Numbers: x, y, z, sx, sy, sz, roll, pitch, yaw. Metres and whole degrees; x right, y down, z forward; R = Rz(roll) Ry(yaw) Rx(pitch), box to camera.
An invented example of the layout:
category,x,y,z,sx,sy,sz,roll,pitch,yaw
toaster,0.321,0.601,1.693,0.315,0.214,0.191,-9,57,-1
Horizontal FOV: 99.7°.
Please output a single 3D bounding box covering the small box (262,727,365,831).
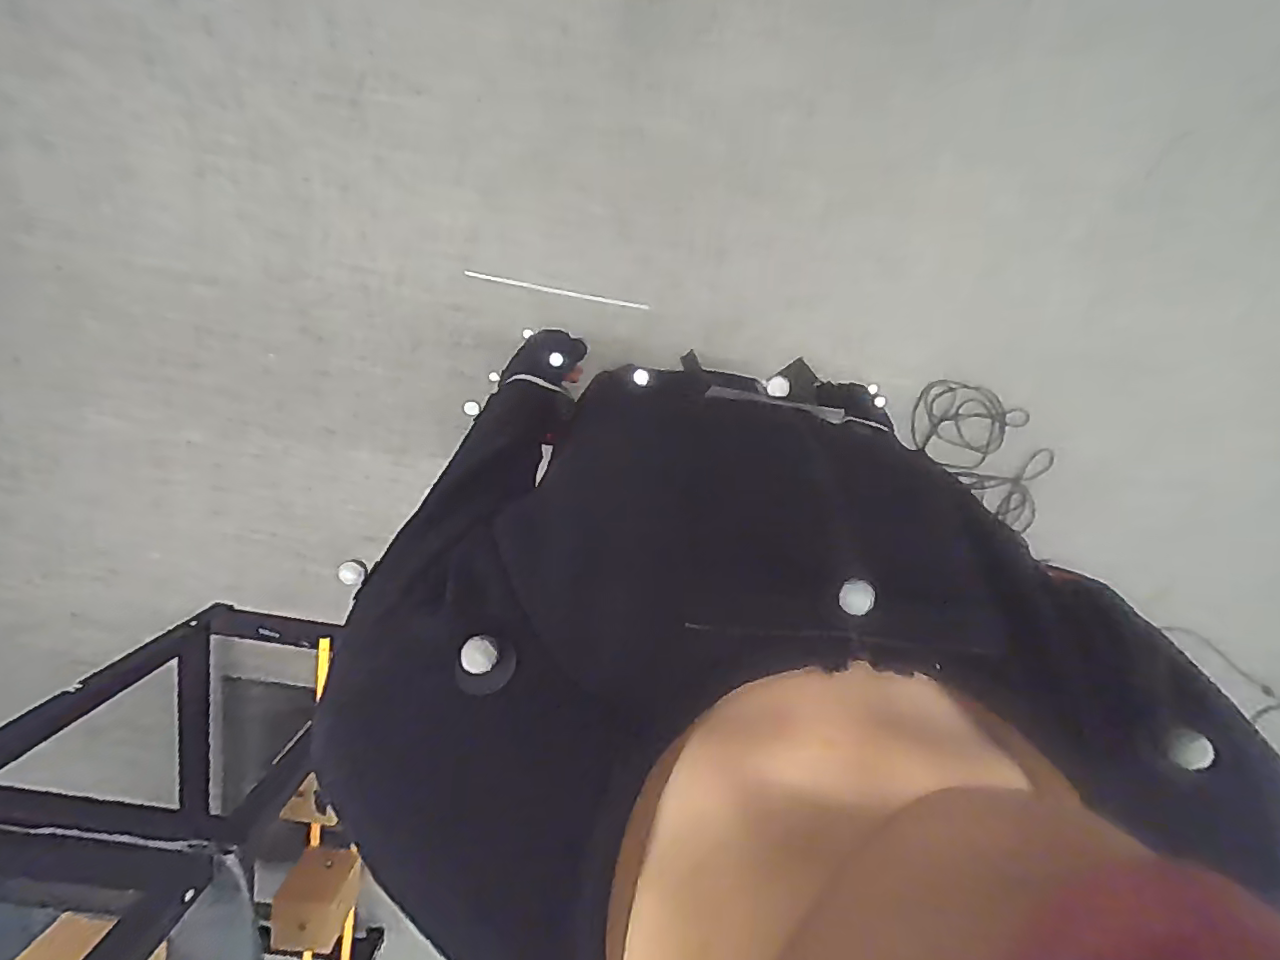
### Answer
category,x,y,z,sx,sy,sz,roll,pitch,yaw
small box,-0.874,0.800,1.461,0.179,0.176,0.168,13,102,-4
